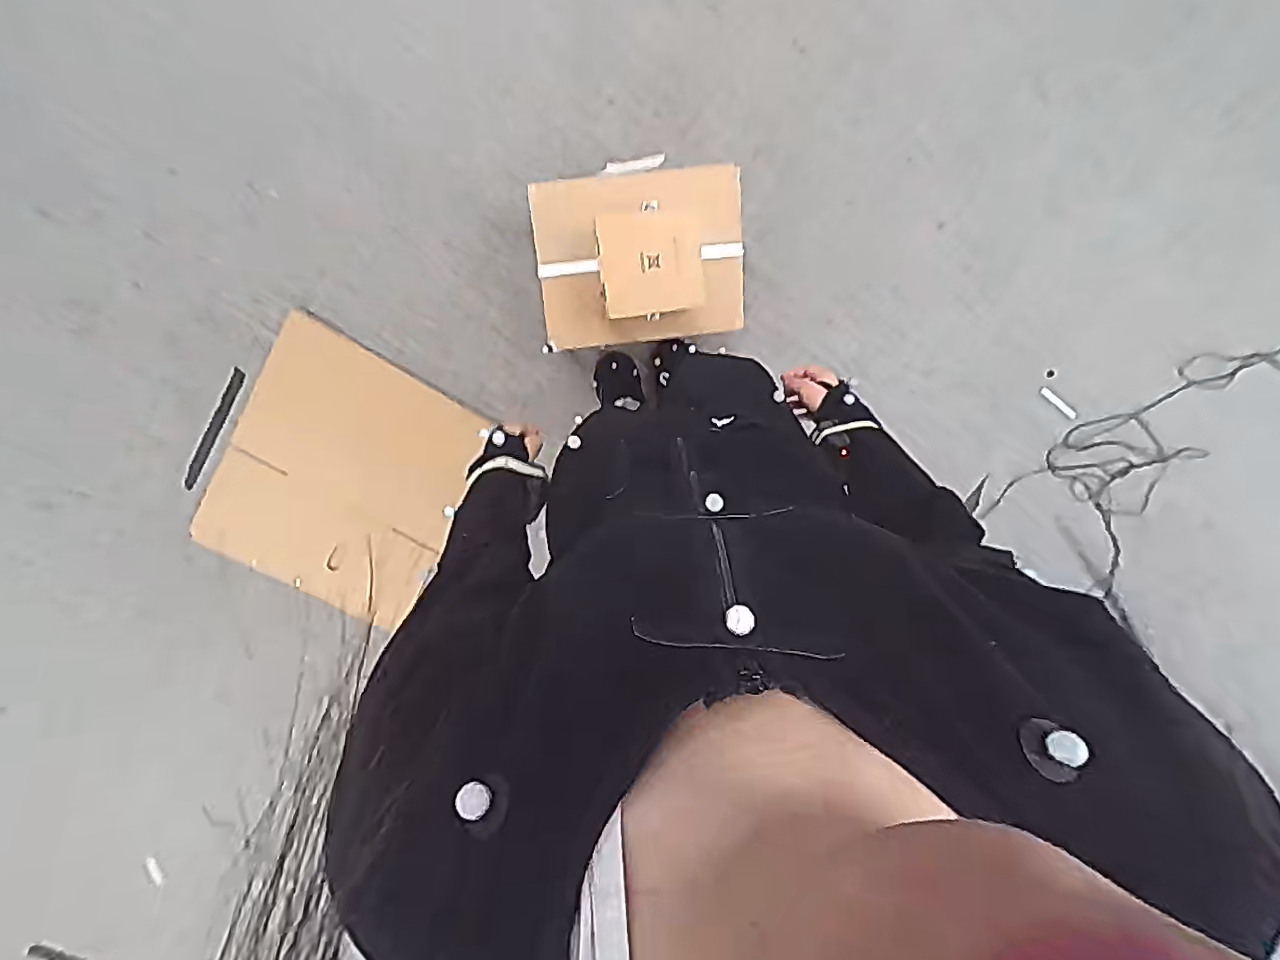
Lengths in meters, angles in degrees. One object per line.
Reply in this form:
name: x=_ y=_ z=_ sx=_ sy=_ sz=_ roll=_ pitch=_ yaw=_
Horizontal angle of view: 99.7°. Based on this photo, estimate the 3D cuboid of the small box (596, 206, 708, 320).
small box: x=0.018 y=-0.387 z=0.989 sx=0.179 sy=0.176 sz=0.168 roll=-9 pitch=108 yaw=-2
